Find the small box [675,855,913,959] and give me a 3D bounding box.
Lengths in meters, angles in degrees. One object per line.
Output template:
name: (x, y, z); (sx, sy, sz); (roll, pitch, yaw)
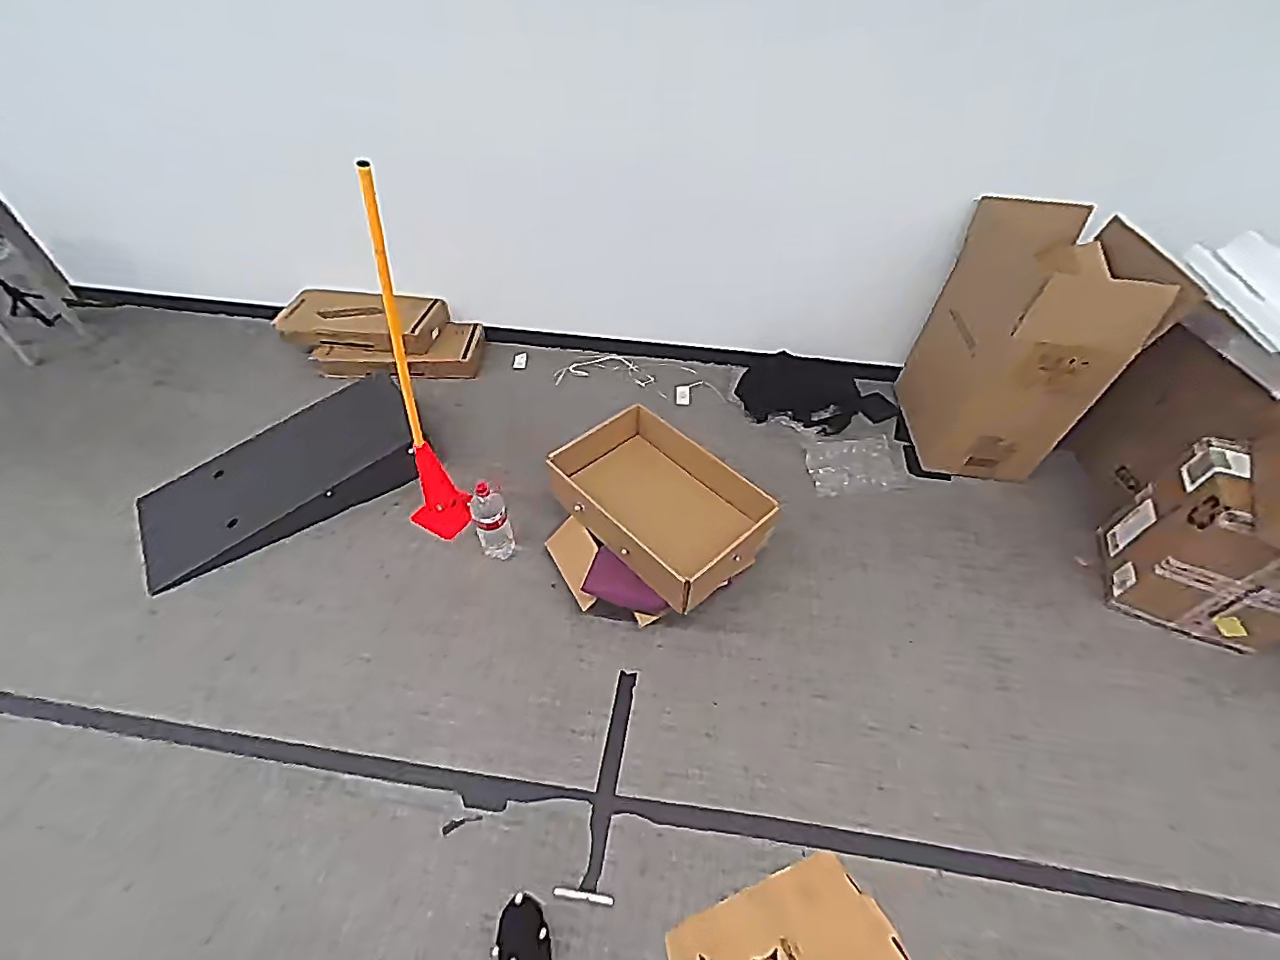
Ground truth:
small box: (0.147, 0.466, 0.437); (0.179, 0.168, 0.176); (-21, 88, -7)
